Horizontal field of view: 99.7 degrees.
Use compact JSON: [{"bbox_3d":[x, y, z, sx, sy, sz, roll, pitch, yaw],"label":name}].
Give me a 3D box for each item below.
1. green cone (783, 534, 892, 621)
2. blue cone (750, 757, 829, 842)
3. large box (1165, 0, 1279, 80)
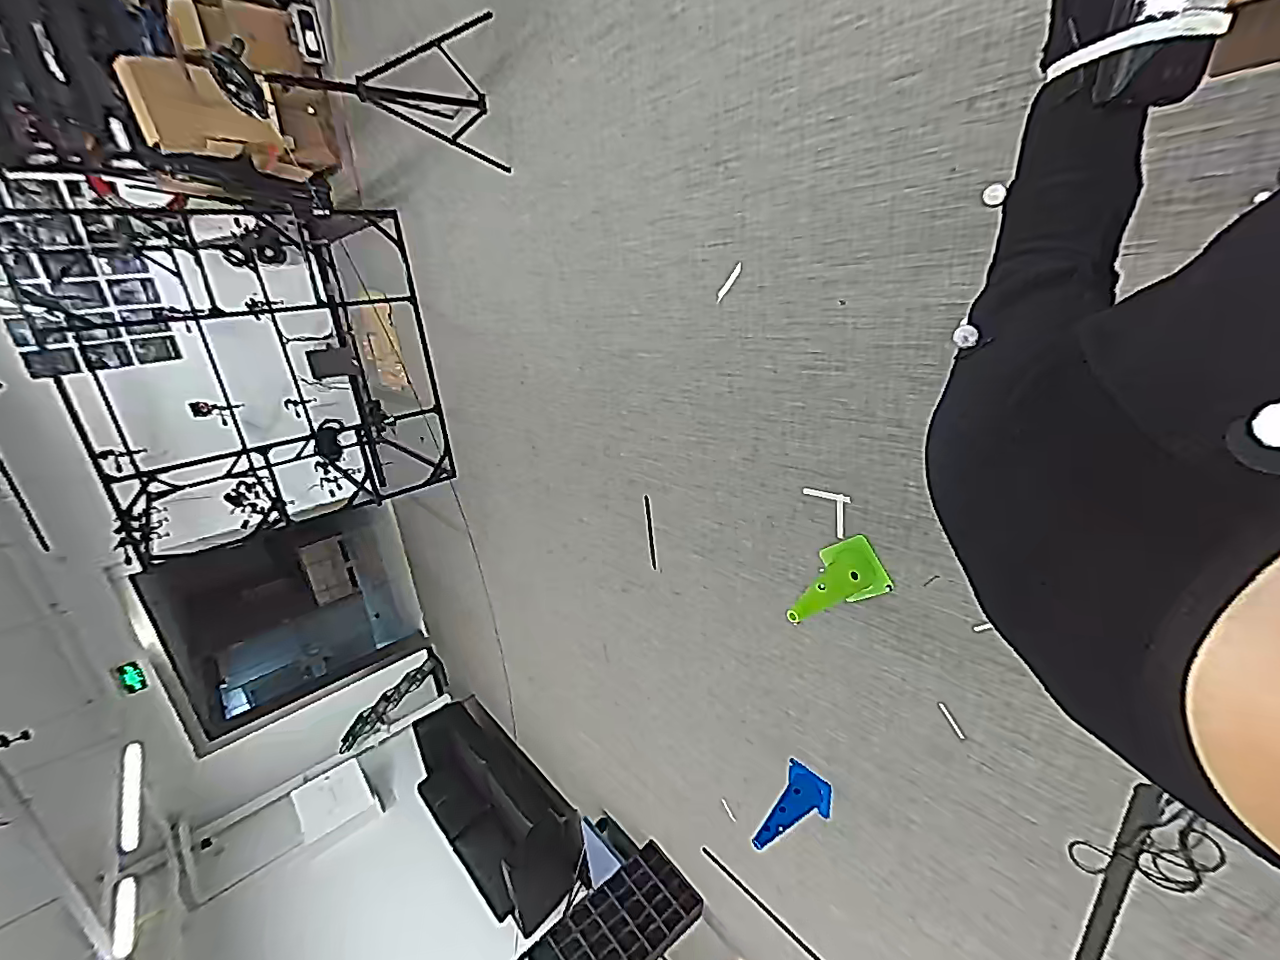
[{"bbox_3d":[0.578,0.339,1.691,0.200,0.368,0.202,62,145,10],"label":"green cone"},{"bbox_3d":[0.593,1.345,2.210,0.192,0.380,0.193,23,124,46],"label":"blue cone"},{"bbox_3d":[0.558,-0.451,0.250,0.408,0.320,0.320,15,121,45],"label":"large box"}]
